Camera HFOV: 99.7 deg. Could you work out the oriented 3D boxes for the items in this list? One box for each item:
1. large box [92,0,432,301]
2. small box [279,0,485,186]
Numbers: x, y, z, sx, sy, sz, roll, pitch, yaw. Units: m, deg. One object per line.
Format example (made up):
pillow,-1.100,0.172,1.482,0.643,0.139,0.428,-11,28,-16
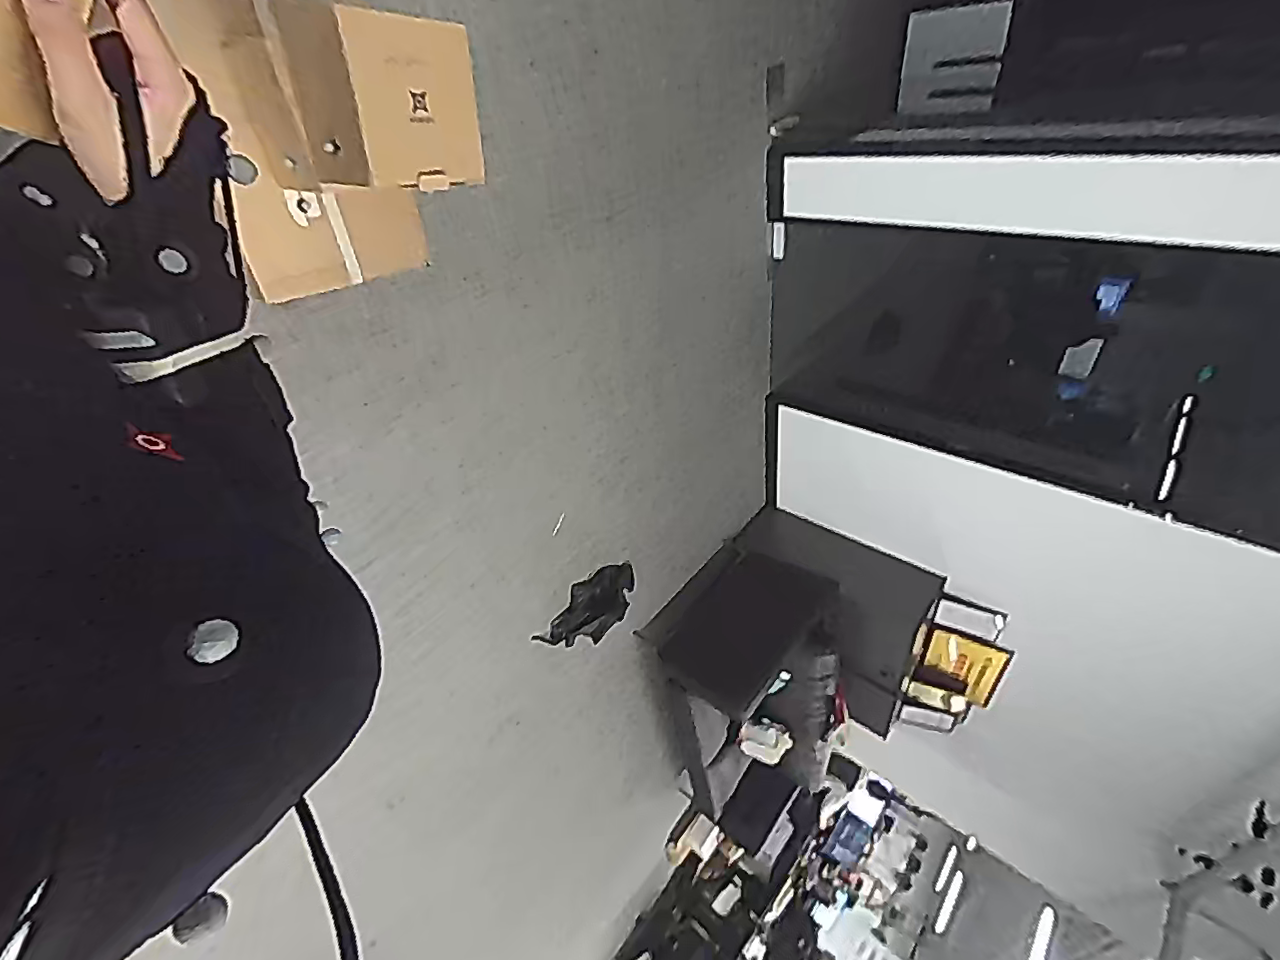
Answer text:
large box,-0.639,-0.582,0.962,0.320,0.320,0.408,-33,135,-35
small box,-0.331,-0.490,0.706,0.168,0.176,0.179,-31,133,-40
